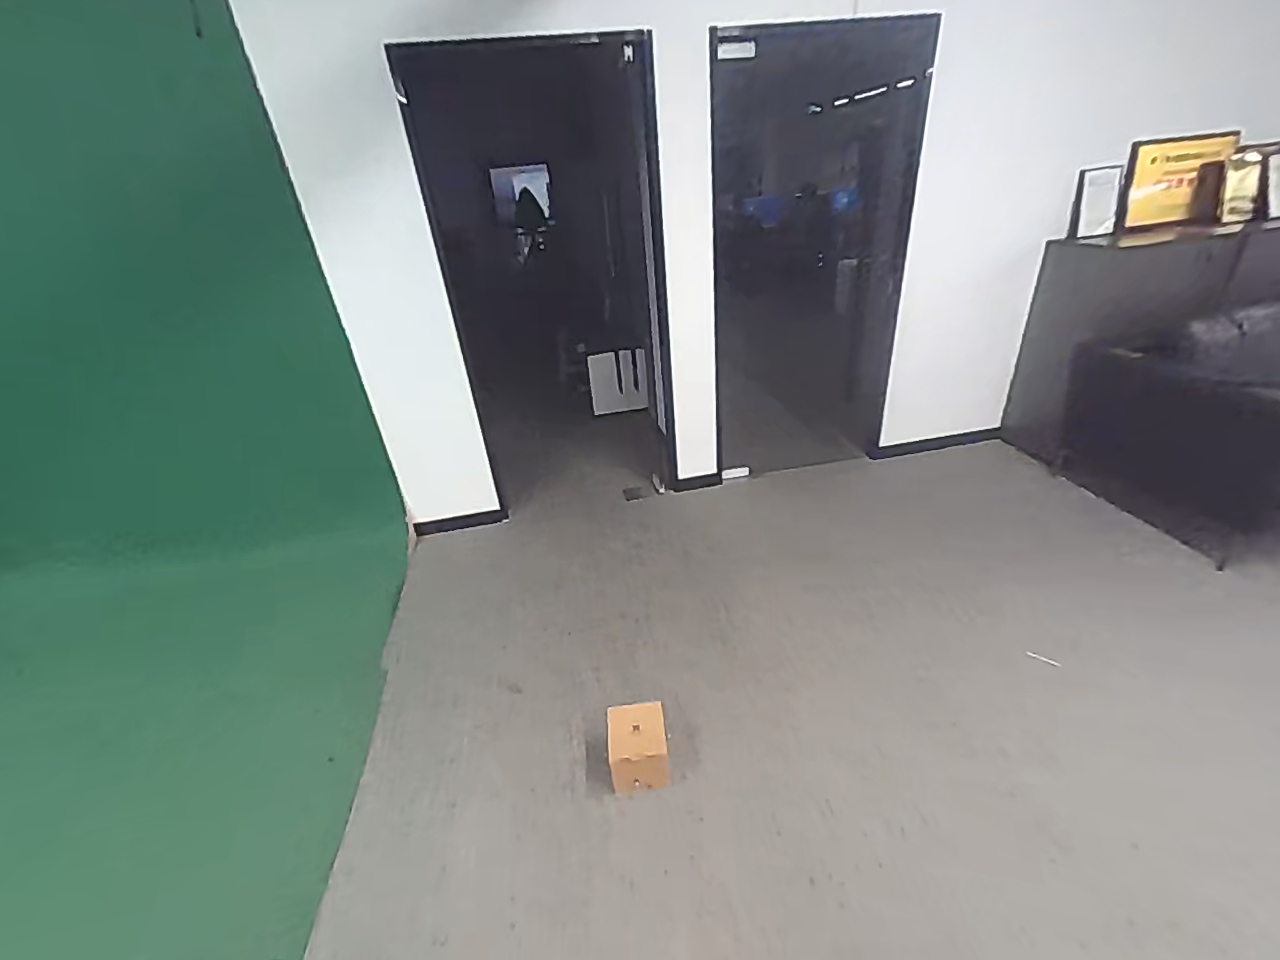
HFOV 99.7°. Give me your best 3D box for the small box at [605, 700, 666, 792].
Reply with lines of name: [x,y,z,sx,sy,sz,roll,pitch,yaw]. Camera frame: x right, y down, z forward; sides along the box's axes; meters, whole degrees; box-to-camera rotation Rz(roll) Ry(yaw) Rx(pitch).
small box: [-0.015,0.791,1.610,0.168,0.176,0.179,-6,30,-2]
